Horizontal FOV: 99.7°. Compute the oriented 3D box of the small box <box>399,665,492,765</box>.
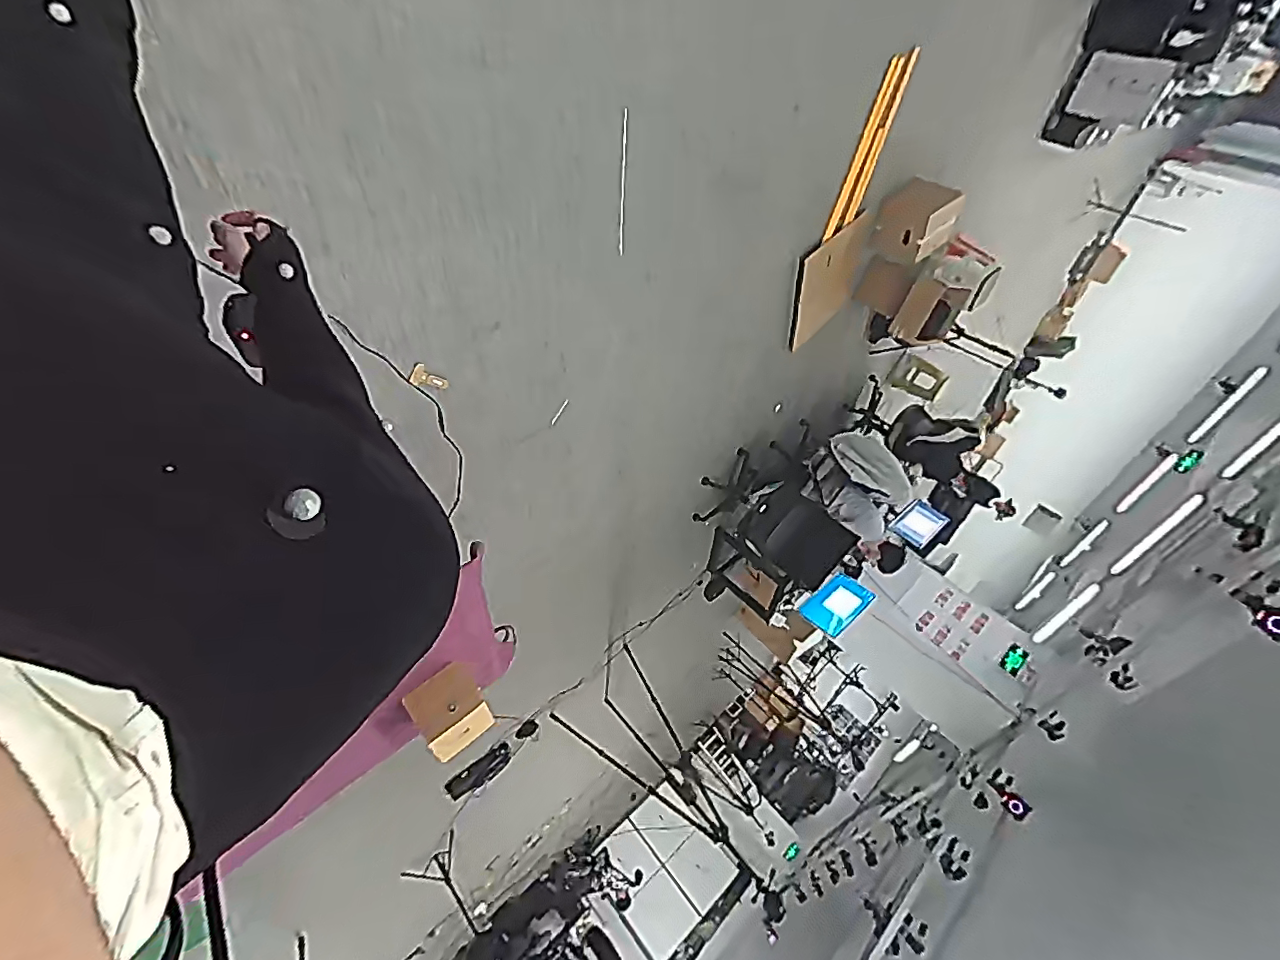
[{"bbox_3d":[-0.559,0.670,1.556,0.179,0.176,0.168,-33,146,-28],"label":"small box"}]
